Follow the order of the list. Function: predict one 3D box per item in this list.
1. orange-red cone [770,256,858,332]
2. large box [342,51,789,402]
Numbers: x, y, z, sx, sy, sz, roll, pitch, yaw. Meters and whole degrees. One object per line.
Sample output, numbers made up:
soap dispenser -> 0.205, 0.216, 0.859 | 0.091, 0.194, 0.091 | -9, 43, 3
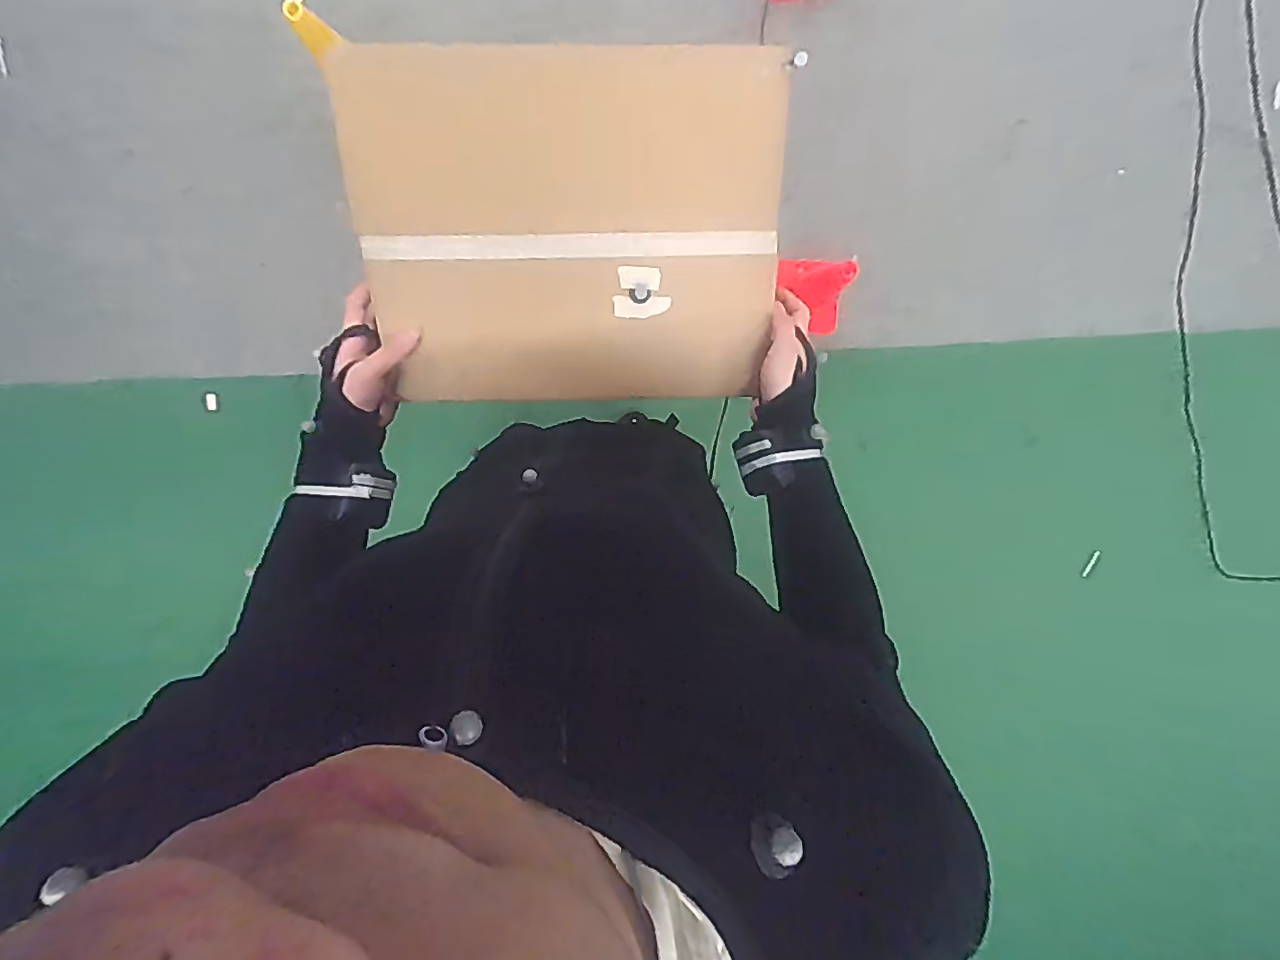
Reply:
orange-red cone -> 0.466, -0.498, 1.370 | 0.199, 0.360, 0.198 | 5, 100, -2
large box -> -0.069, -0.294, 0.672 | 0.408, 0.320, 0.320 | -2, 115, -3
